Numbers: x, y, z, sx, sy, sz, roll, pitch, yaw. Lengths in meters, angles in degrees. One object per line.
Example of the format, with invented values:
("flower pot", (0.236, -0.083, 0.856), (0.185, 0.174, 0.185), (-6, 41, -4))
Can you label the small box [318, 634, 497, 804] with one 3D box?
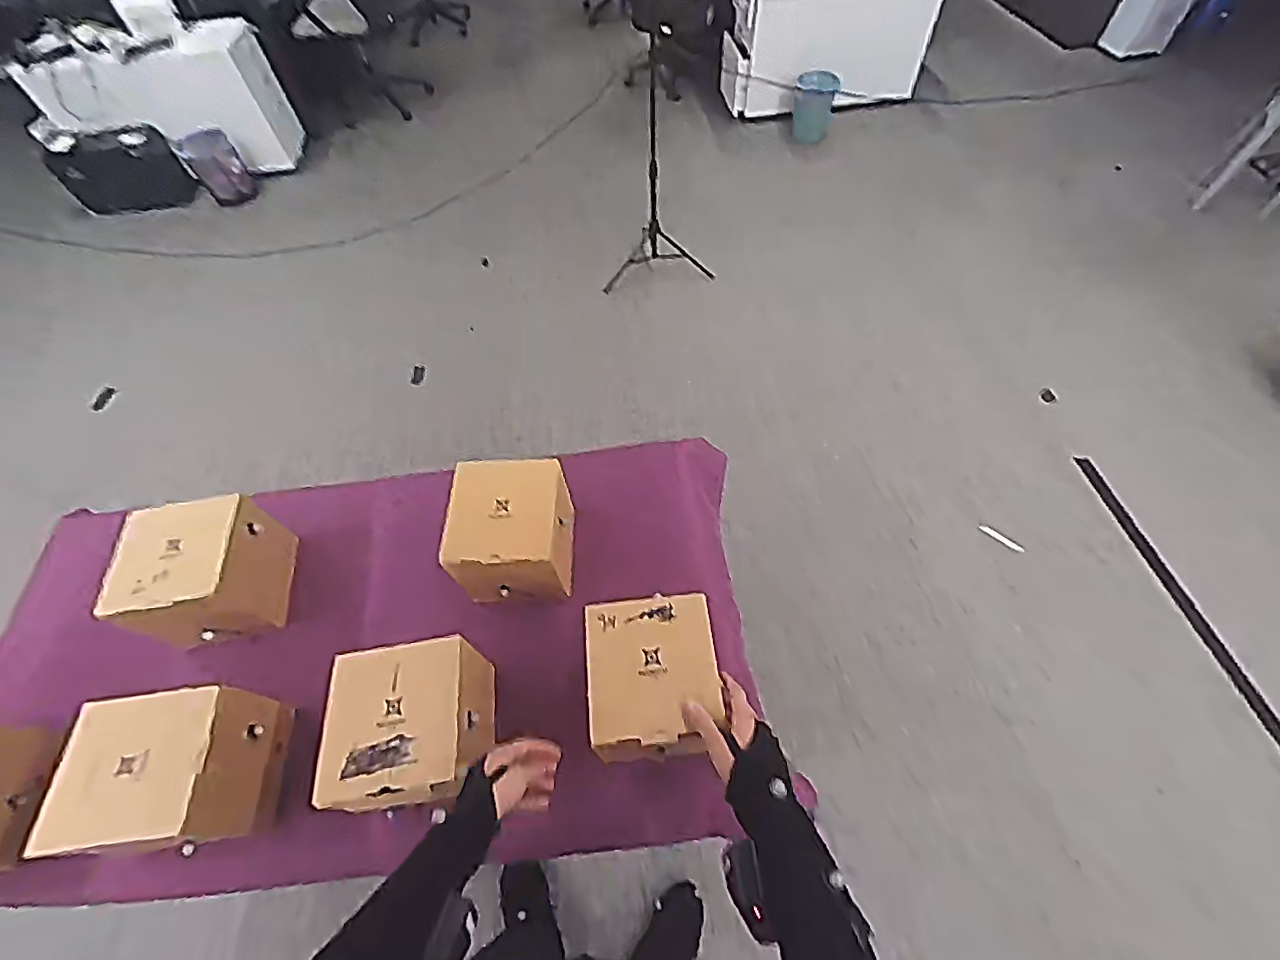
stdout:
("small box", (-0.297, 0.330, 0.734), (0.168, 0.176, 0.179), (-8, 56, -3))

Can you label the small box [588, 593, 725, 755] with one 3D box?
("small box", (0.021, 0.276, 0.751), (0.168, 0.176, 0.179), (-5, 56, 0))

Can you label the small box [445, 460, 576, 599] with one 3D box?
("small box", (-0.201, 0.085, 0.893), (0.168, 0.176, 0.179), (-2, 58, 2))

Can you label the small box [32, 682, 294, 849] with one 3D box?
("small box", (-0.602, 0.379, 0.718), (0.179, 0.176, 0.168), (-6, 56, -2))

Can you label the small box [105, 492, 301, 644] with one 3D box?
("small box", (-0.685, 0.146, 0.877), (0.168, 0.176, 0.179), (-10, 57, -4))
